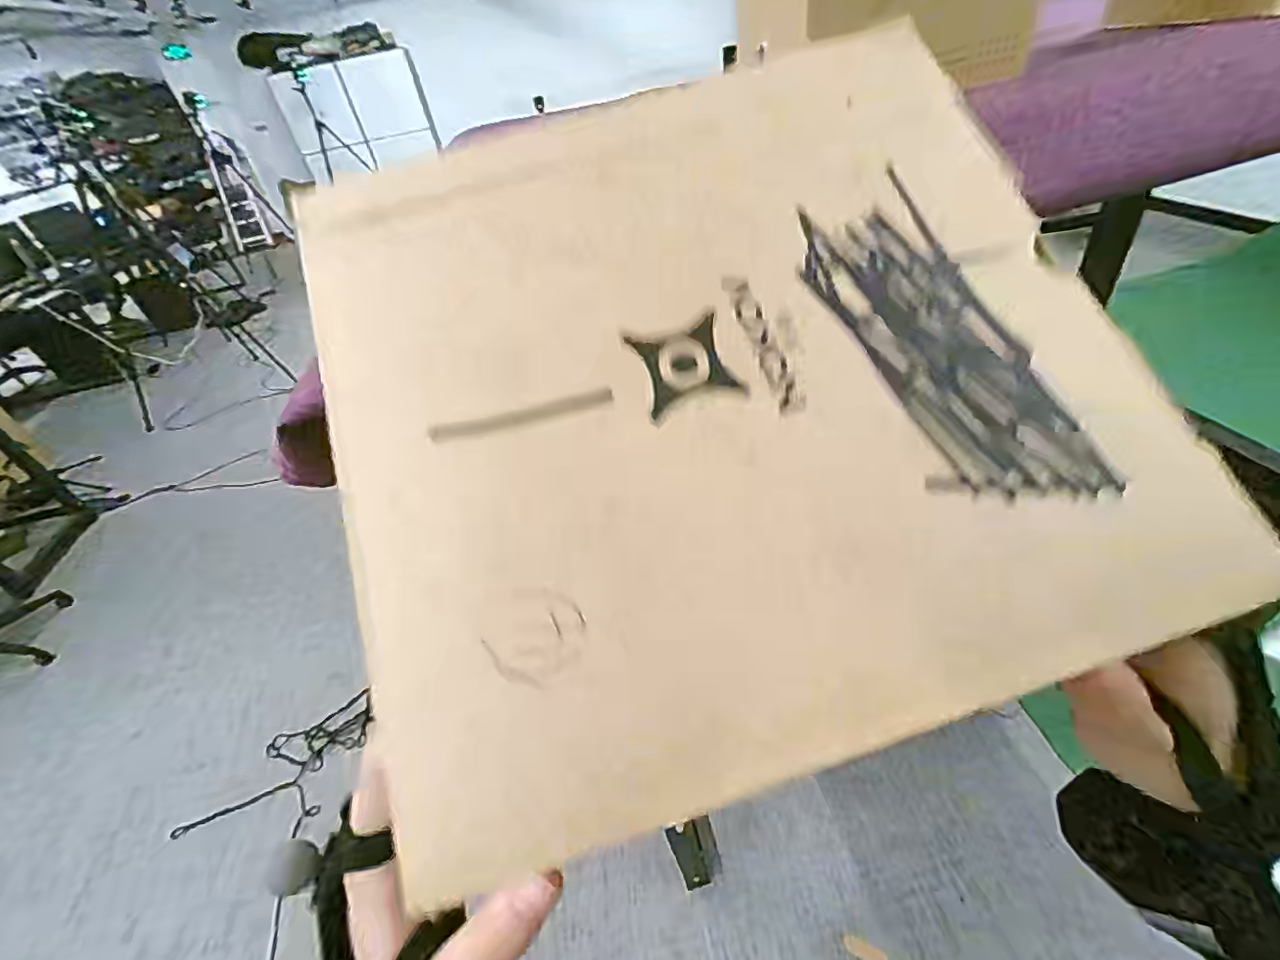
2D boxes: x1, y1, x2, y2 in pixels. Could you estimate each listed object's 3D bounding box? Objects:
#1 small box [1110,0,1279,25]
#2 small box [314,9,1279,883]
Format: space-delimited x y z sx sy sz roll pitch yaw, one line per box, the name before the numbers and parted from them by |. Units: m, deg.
small box | 0.537 -0.483 0.423 0.168 0.176 0.179 -11 38 1
small box | 0.025 -0.006 0.195 0.179 0.176 0.168 -17 72 -3
